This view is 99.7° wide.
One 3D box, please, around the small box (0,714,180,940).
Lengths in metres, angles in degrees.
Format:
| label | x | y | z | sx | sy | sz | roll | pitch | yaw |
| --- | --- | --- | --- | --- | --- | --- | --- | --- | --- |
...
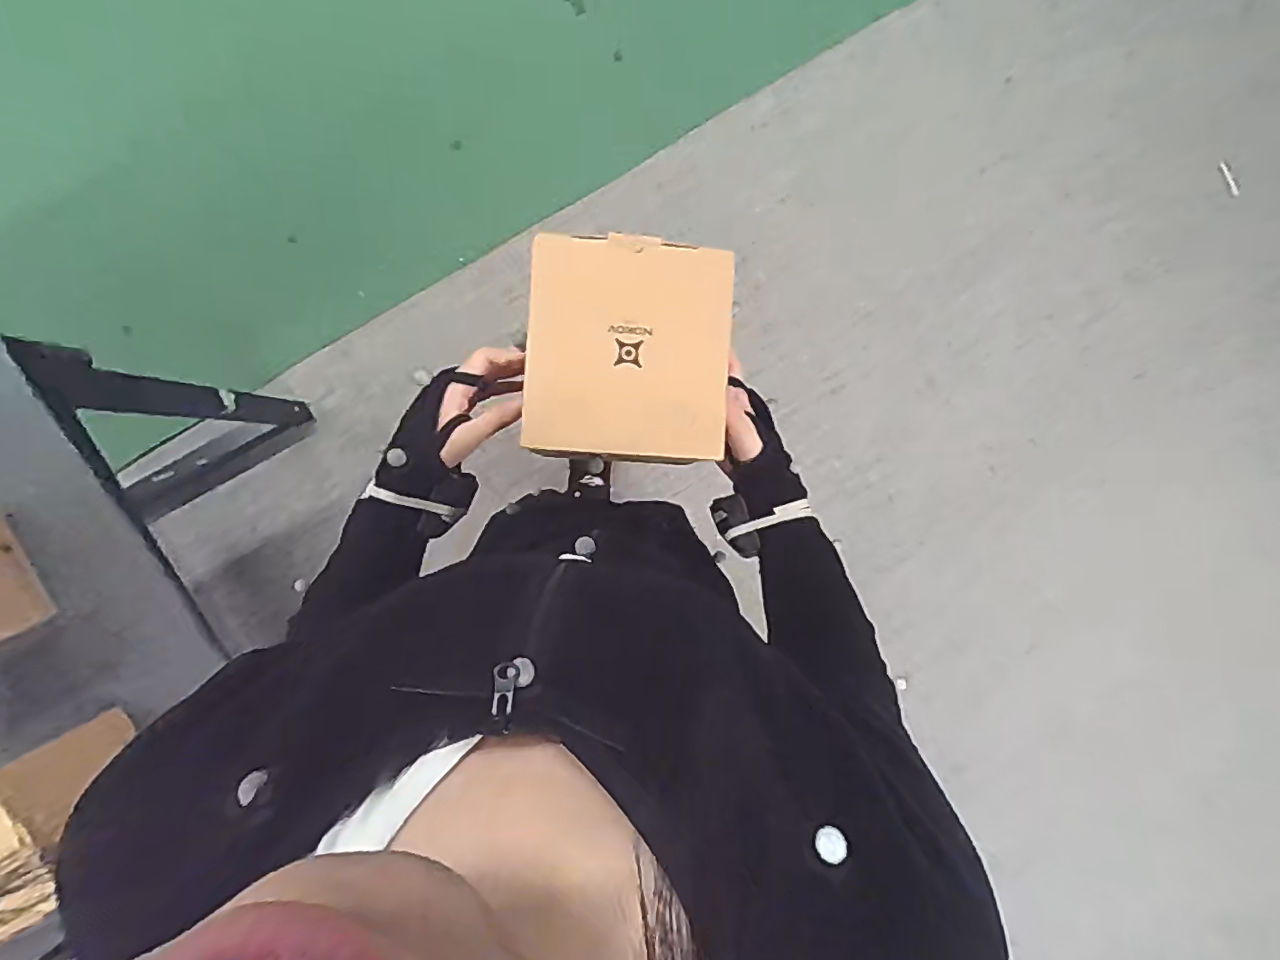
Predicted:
| label | x | y | z | sx | sy | sz | roll | pitch | yaw |
| --- | --- | --- | --- | --- | --- | --- | --- | --- | --- |
| small box | -0.749 | 0.435 | 0.674 | 0.179 | 0.176 | 0.168 | -31 | 94 | -1 |

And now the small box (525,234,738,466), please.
| label | x | y | z | sx | sy | sz | roll | pitch | yaw |
| --- | --- | --- | --- | --- | --- | --- | --- | --- | --- |
| small box | -0.011 | -0.107 | 0.520 | 0.168 | 0.176 | 0.179 | 4 | 88 | -4 |
